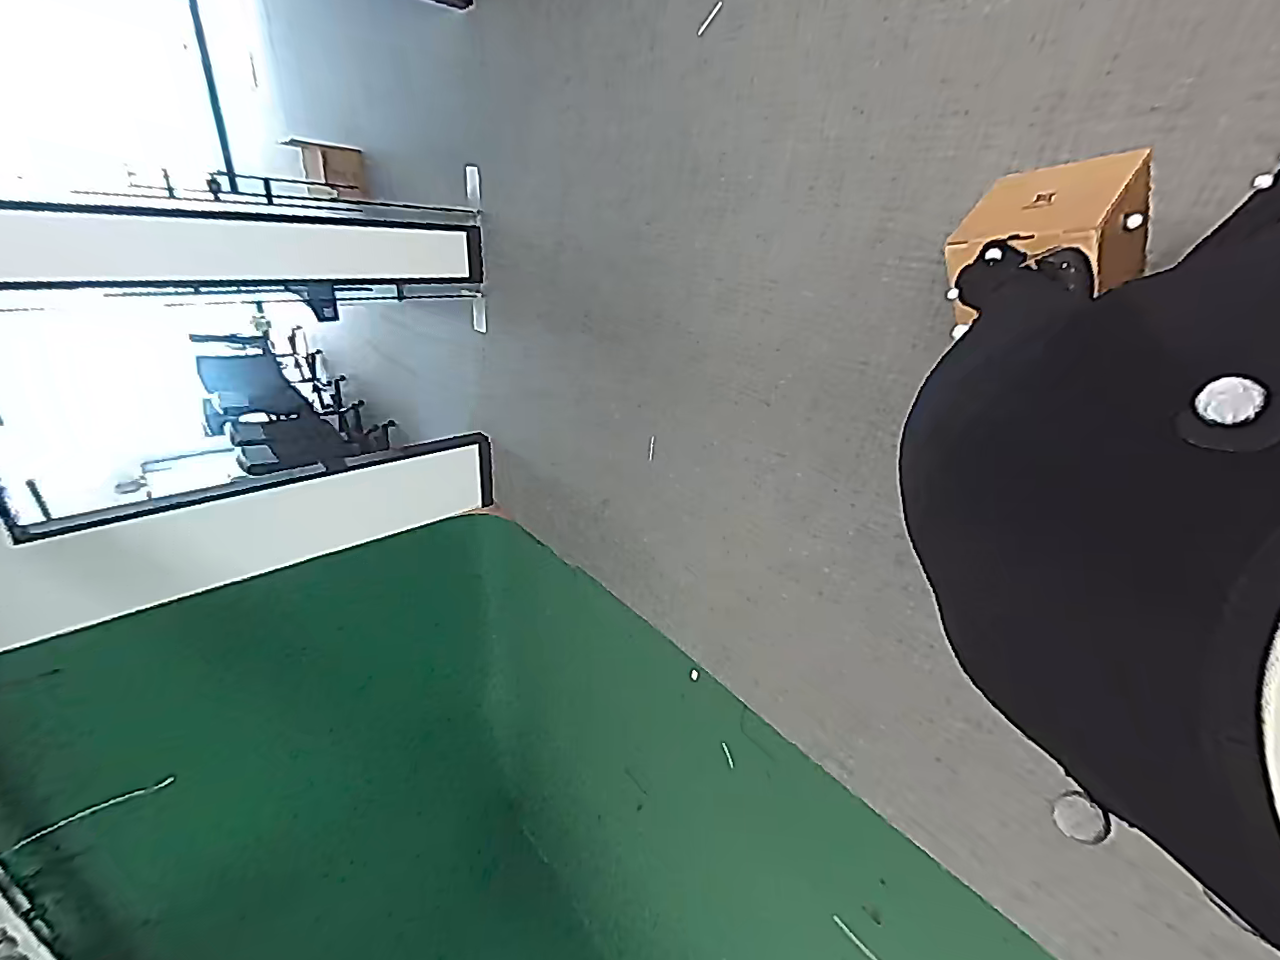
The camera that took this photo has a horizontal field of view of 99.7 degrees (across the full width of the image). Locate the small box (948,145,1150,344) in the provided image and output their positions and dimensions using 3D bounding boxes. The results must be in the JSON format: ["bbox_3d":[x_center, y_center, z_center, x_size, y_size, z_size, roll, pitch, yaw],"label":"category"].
[{"bbox_3d":[0.552,-0.309,0.736,0.168,0.179,0.176,20,153,50],"label":"small box"}]
